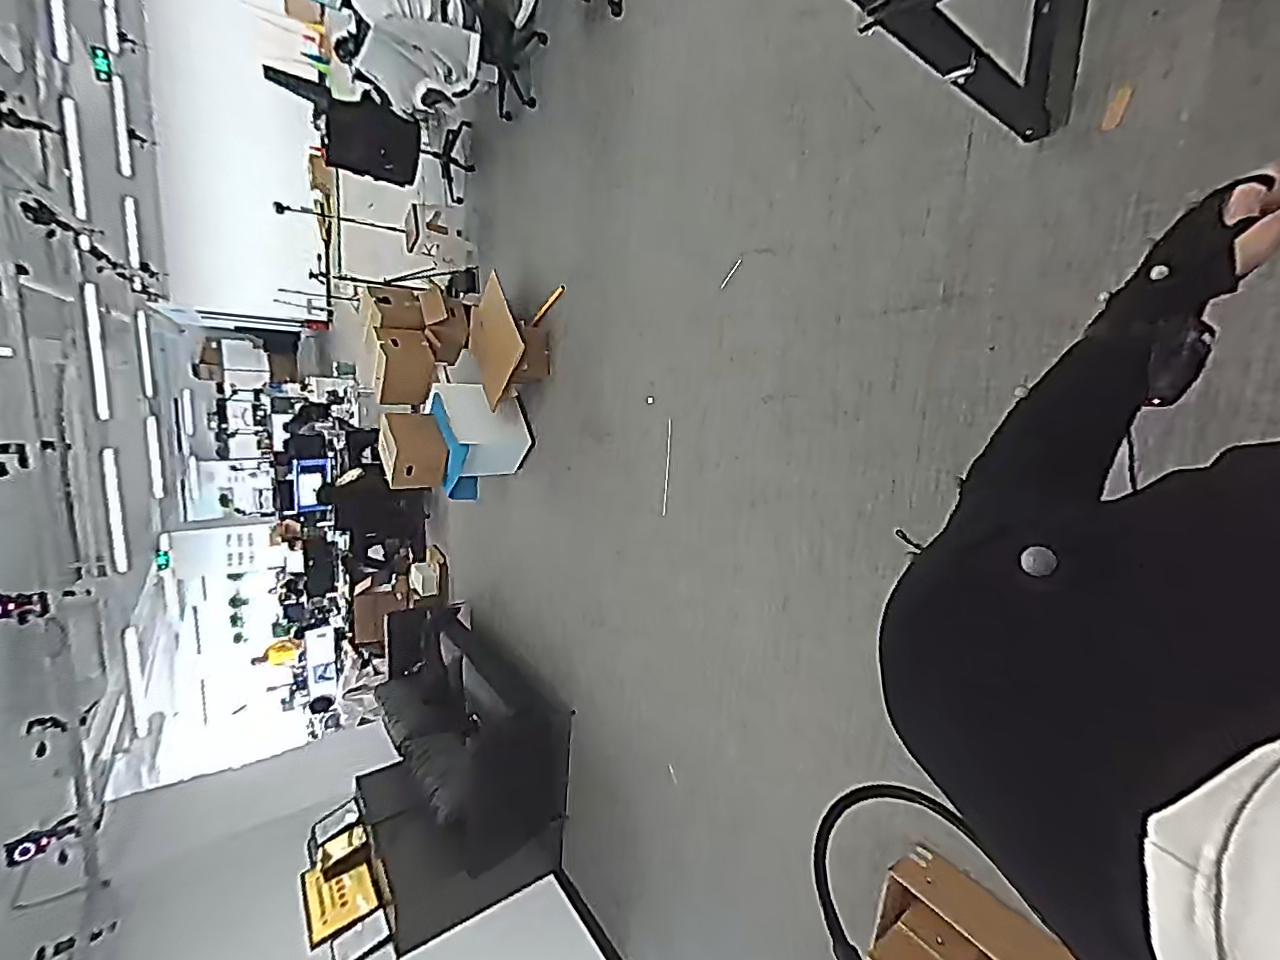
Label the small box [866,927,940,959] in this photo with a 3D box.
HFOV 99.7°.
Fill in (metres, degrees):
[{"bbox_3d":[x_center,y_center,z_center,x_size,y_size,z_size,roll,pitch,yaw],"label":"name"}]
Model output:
[{"bbox_3d":[0.730,1.384,1.471,0.179,0.176,0.168,19,107,52],"label":"small box"}]
